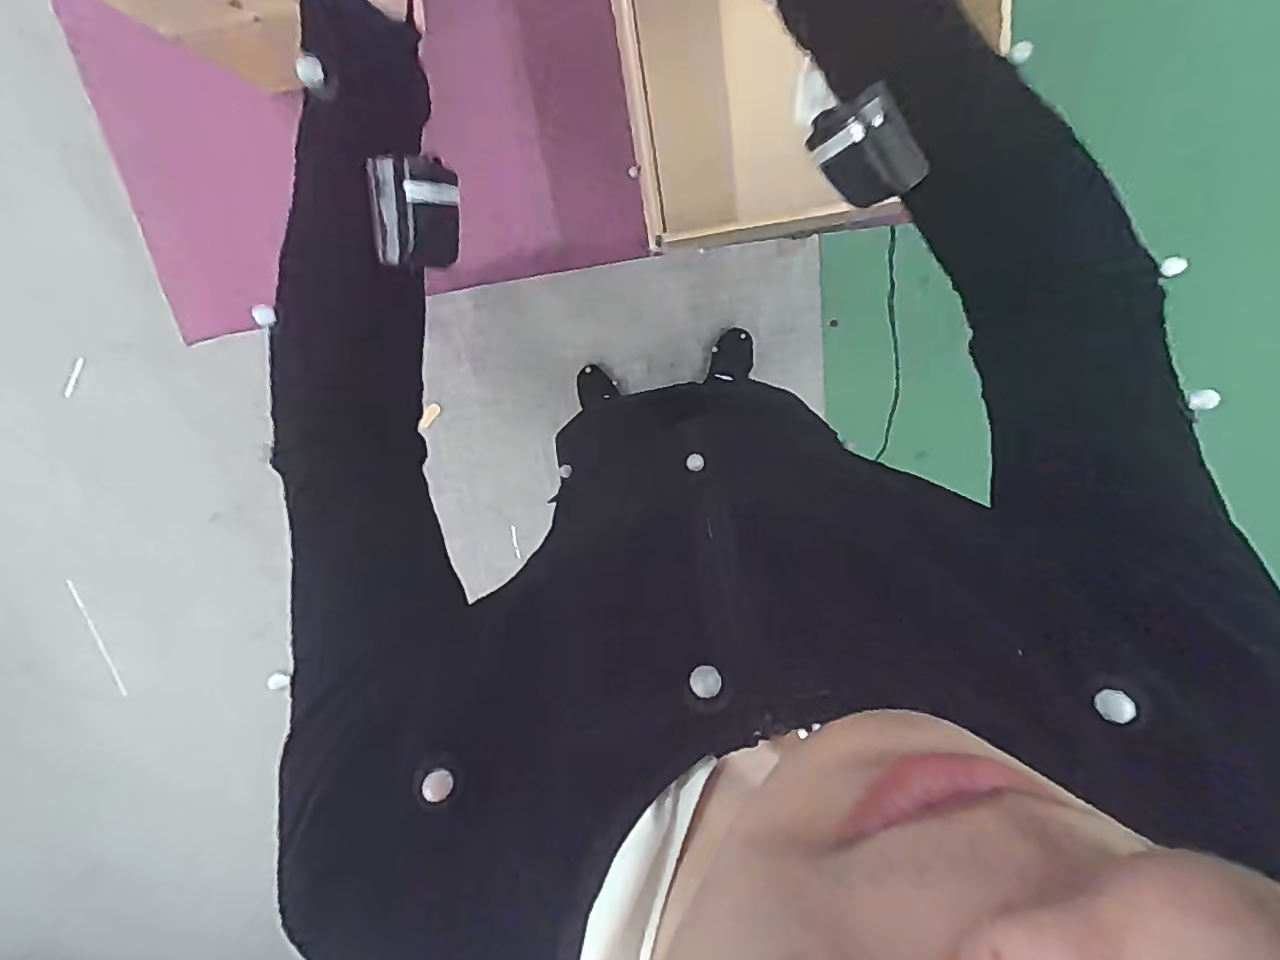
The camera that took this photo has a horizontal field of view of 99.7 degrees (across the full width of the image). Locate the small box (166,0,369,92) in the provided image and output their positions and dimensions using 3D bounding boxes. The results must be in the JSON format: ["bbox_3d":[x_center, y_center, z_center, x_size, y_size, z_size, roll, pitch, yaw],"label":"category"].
[{"bbox_3d":[-0.465,-0.610,0.664,0.168,0.176,0.179,-8,105,3],"label":"small box"}]
